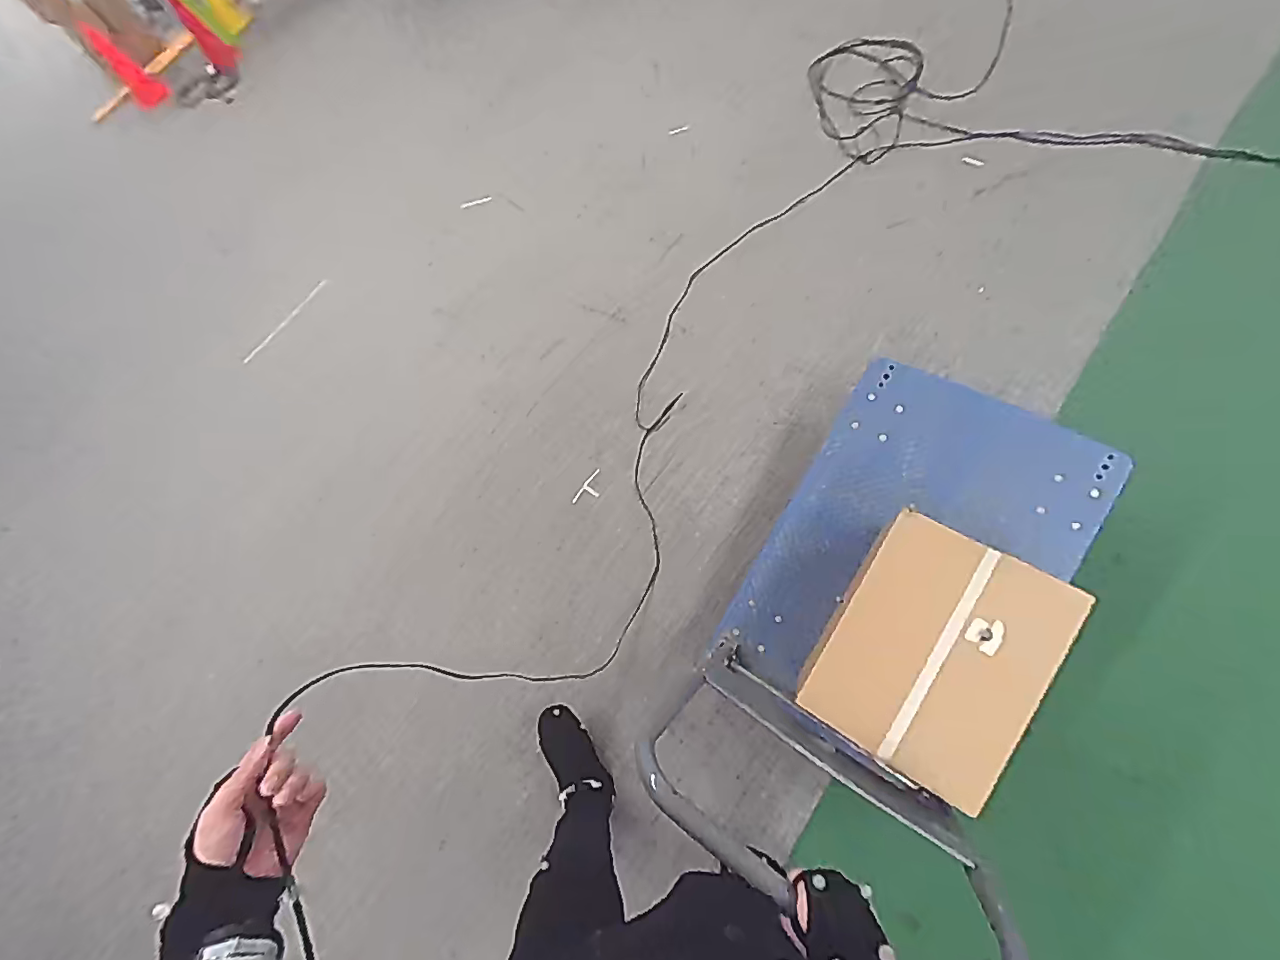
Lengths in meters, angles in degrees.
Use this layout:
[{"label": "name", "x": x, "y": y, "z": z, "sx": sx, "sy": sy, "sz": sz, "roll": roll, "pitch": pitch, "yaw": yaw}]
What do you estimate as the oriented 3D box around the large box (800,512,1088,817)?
[{"label": "large box", "x": 0.545, "y": 0.329, "z": 1.052, "sx": 0.320, "sy": 0.320, "sz": 0.408, "roll": 30, "pitch": 87, "yaw": 20}]
